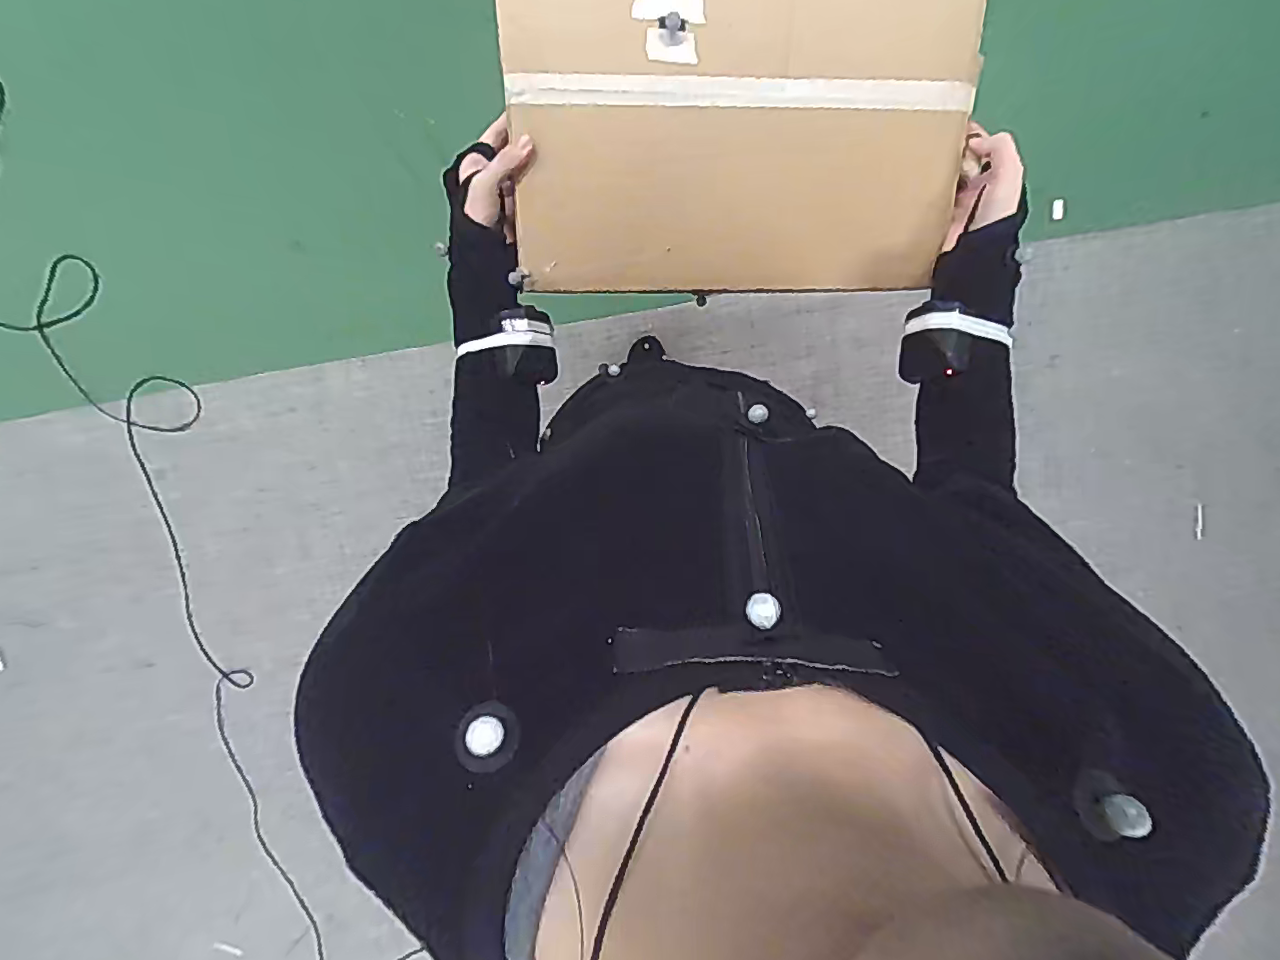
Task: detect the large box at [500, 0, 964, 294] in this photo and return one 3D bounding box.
[{"bbox_3d":[0.072,-0.383,0.619,0.408,0.320,0.320,-2,109,-5],"label":"large box"}]
